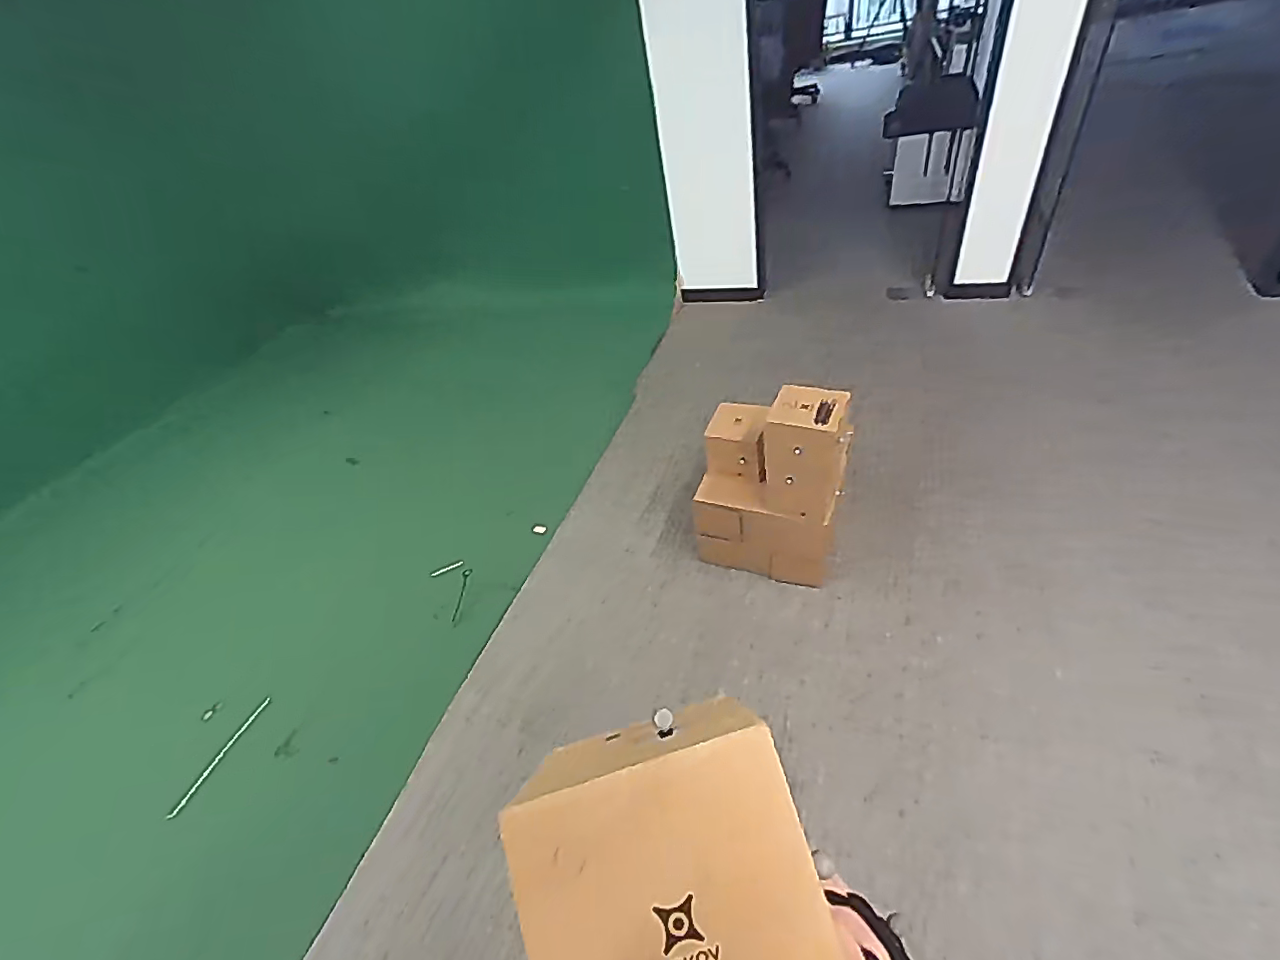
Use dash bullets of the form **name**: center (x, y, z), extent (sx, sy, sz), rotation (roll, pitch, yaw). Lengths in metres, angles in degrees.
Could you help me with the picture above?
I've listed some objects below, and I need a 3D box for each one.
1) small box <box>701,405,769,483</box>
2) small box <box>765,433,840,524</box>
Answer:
- **small box**: center (0.306, -0.111, 1.690), extent (0.168, 0.176, 0.179), rotation (10, 46, 25)
- **small box**: center (0.458, -0.006, 1.529), extent (0.168, 0.176, 0.179), rotation (12, 47, 26)
